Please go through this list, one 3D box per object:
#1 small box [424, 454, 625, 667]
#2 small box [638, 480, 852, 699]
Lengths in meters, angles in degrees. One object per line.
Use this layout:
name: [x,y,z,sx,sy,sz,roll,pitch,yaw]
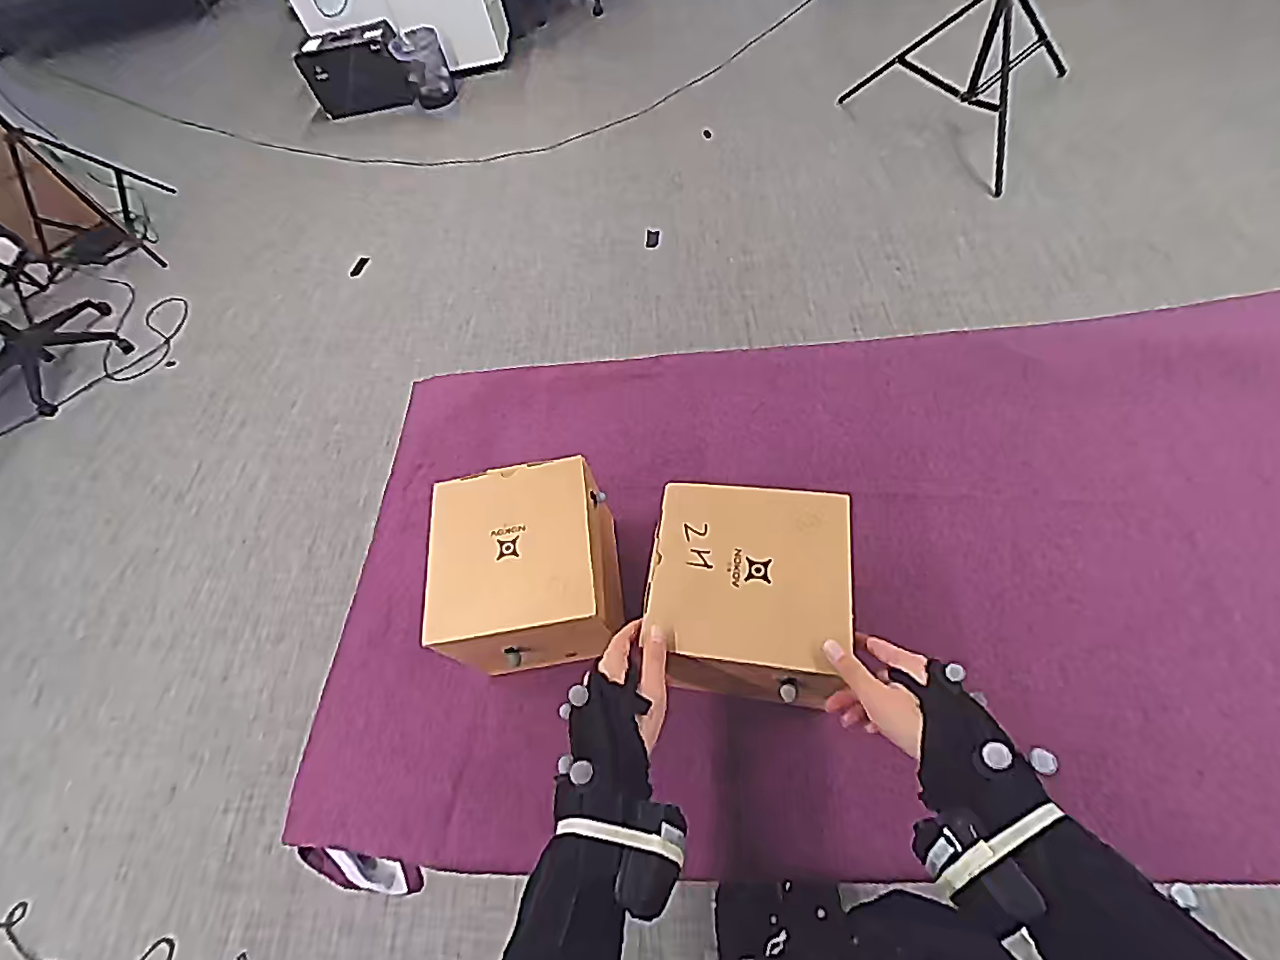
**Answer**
small box: [-0.118,0.100,0.602,0.168,0.176,0.179,-12,59,4]
small box: [0.108,0.117,0.550,0.179,0.176,0.168,3,60,13]
